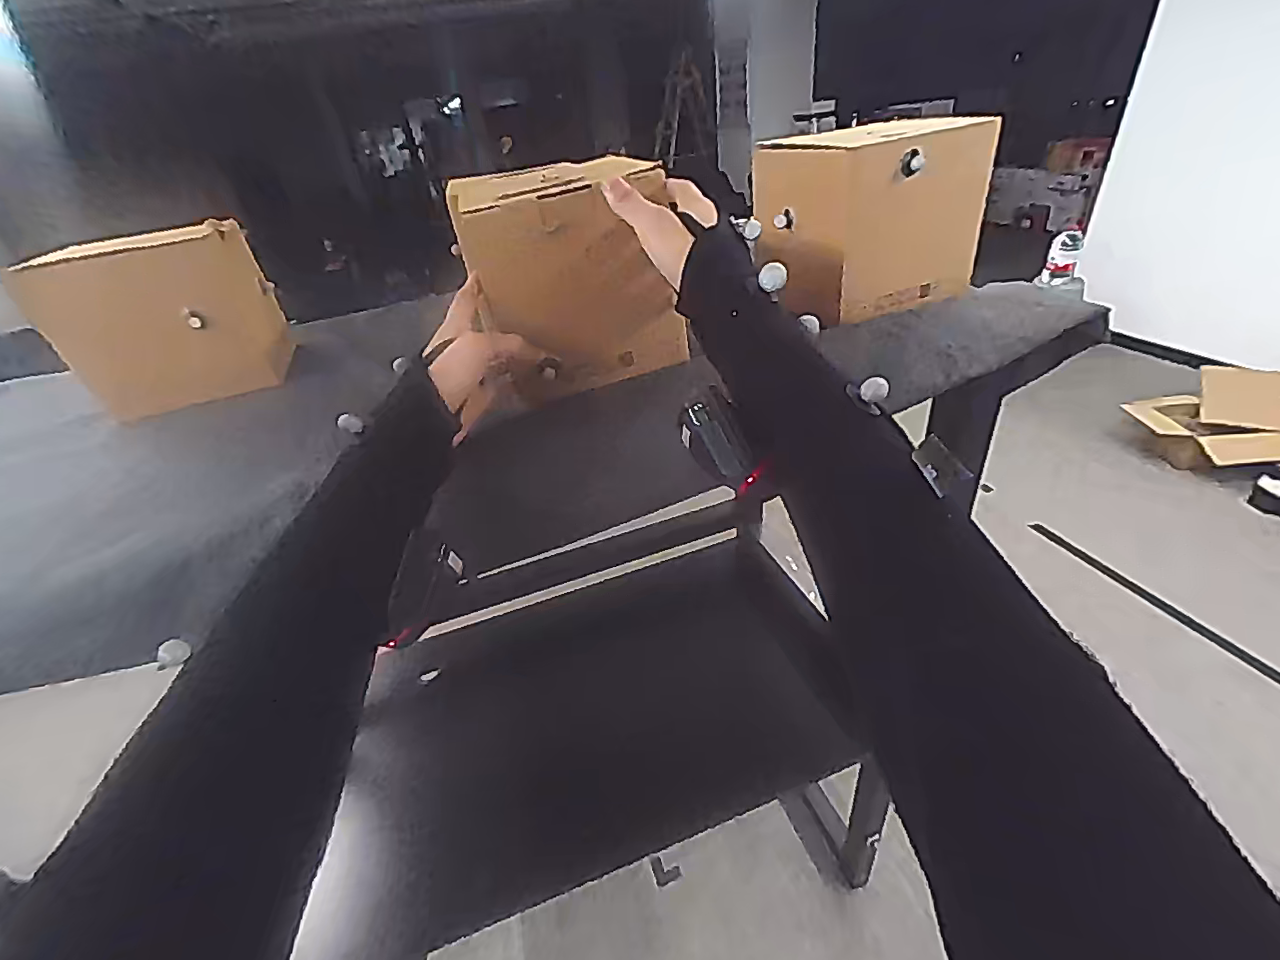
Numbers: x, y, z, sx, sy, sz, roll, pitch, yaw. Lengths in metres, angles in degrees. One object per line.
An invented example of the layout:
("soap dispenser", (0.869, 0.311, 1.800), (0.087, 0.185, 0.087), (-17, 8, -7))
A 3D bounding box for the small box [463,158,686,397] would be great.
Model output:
("small box", (-0.063, -0.195, 0.527), (0.168, 0.176, 0.179), (-17, 36, -7))

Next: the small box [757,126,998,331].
("small box", (0.242, -0.278, 0.599), (0.168, 0.176, 0.179), (-18, 34, -12))

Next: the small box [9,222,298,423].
("small box", (-0.538, -0.190, 0.639), (0.179, 0.176, 0.168), (-18, 36, -15))
